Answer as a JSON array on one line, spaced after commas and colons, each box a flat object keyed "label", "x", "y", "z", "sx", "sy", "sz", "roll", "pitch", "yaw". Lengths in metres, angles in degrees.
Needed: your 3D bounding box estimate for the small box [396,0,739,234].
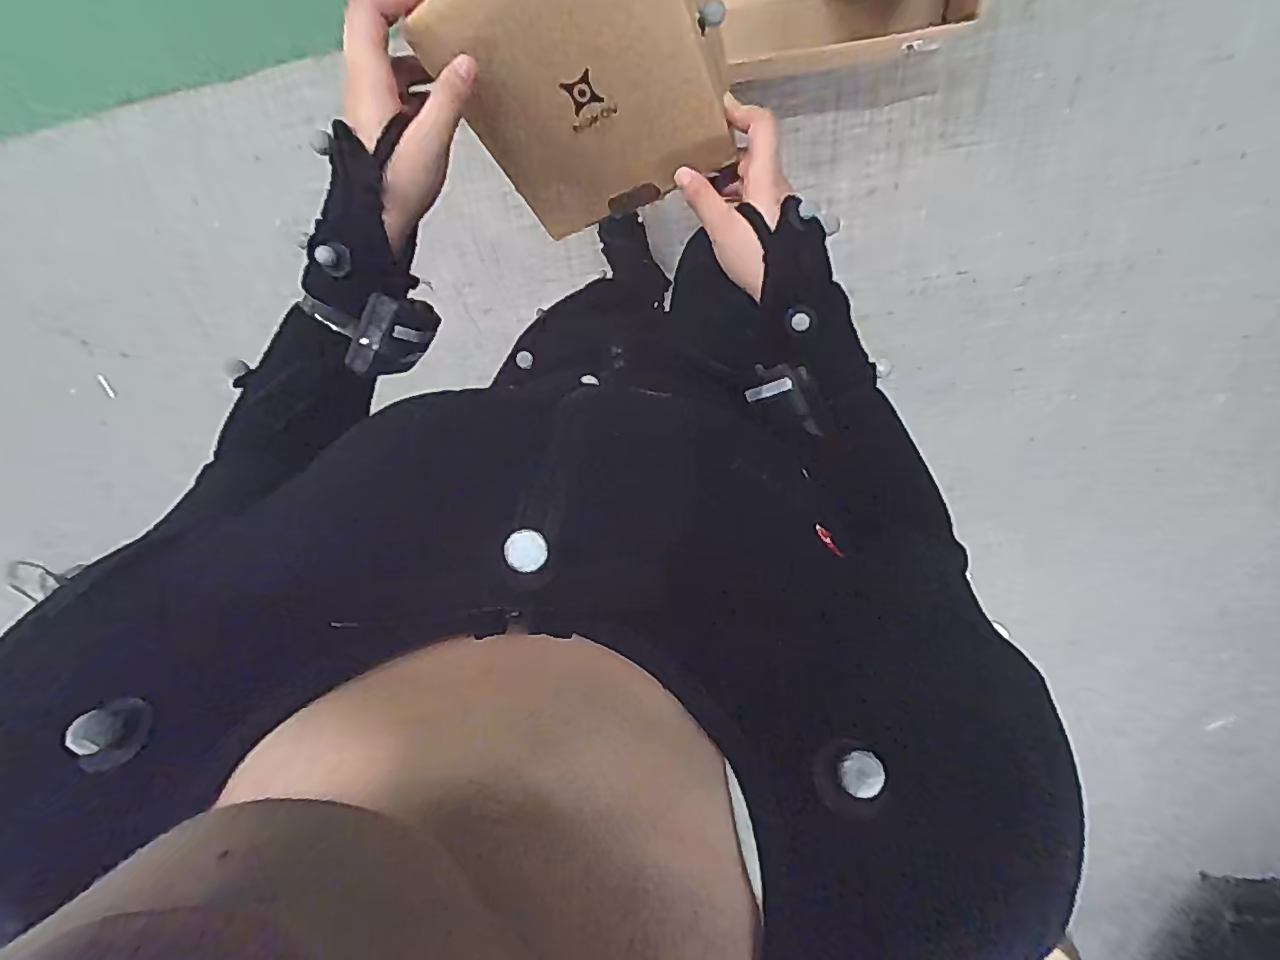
[{"label": "small box", "x": -0.038, "y": -0.330, "z": 0.395, "sx": 0.168, "sy": 0.176, "sz": 0.179, "roll": -13, "pitch": 149, "yaw": 23}]
